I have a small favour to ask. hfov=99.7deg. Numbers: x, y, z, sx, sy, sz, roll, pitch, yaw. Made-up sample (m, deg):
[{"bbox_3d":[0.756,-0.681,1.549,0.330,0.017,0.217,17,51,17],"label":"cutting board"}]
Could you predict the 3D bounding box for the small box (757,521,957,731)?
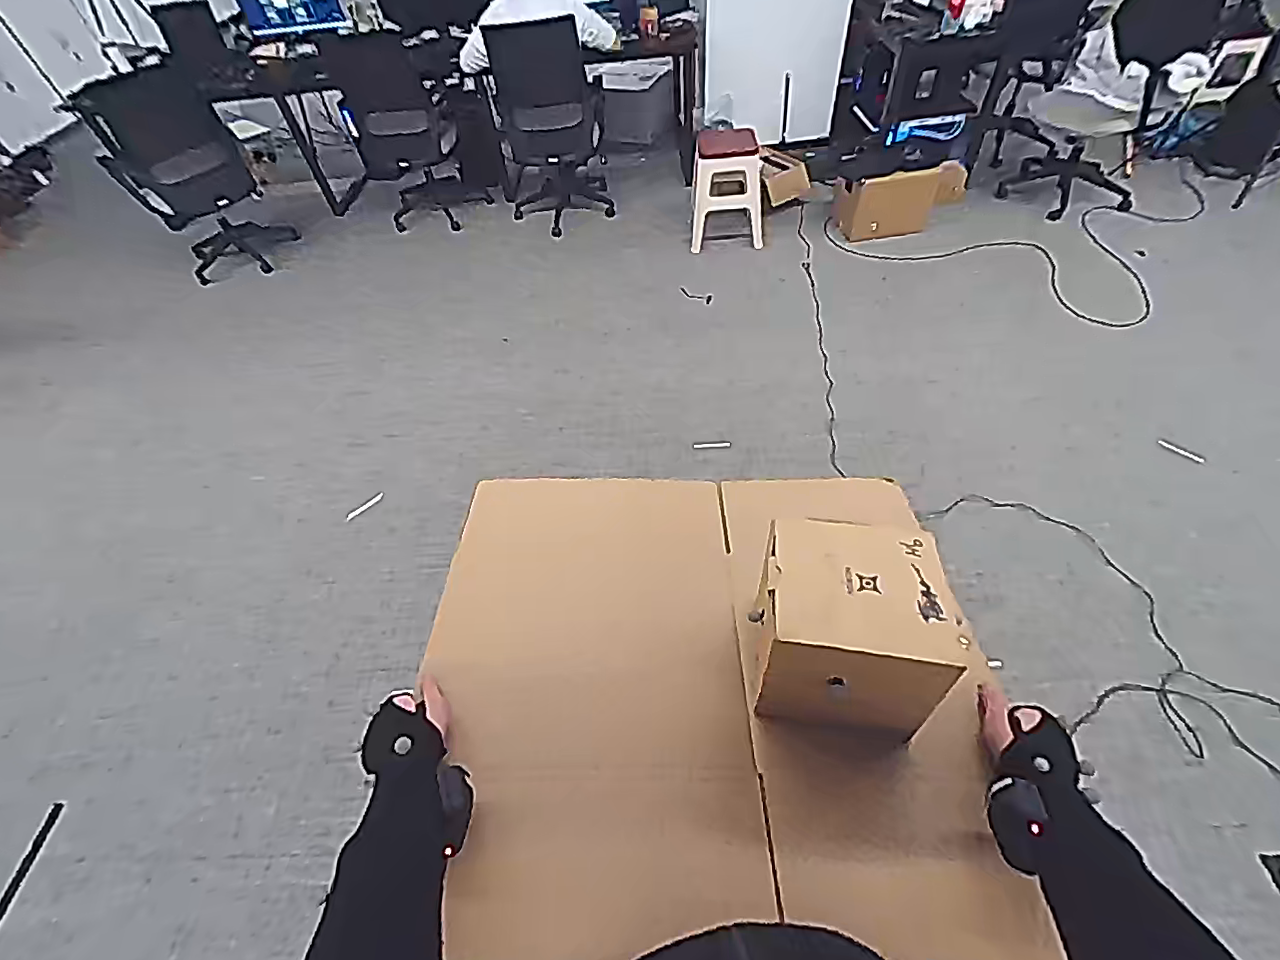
[{"bbox_3d":[0.230,0.169,0.625,0.179,0.176,0.168,5,45,10],"label":"small box"}]
